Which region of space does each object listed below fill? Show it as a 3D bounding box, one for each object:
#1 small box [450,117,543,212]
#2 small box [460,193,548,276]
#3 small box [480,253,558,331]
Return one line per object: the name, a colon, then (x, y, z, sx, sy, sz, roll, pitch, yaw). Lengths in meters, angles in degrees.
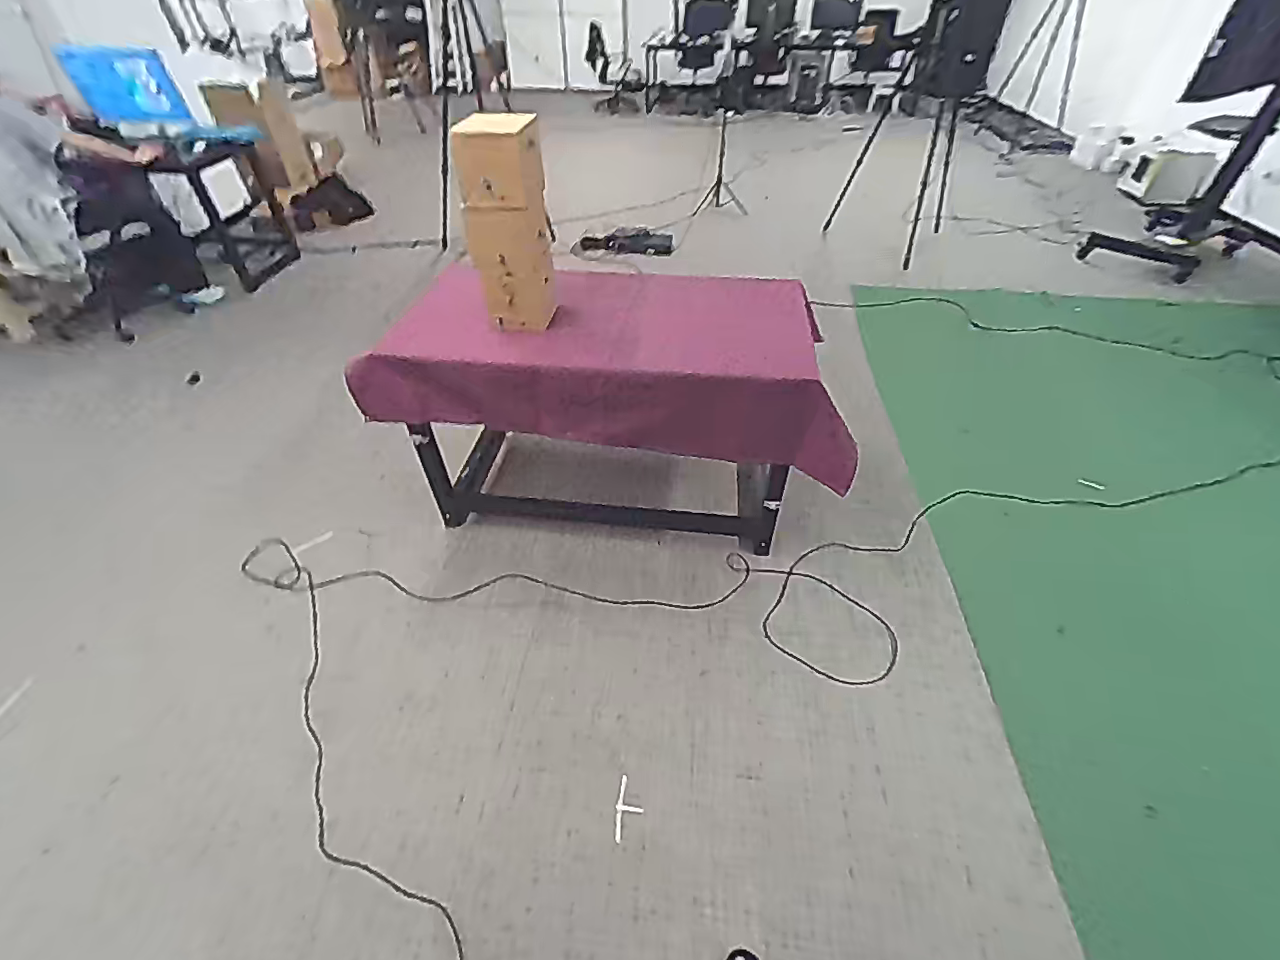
small box: (-0.347, -0.787, 1.349, 0.168, 0.176, 0.179, 5, 45, 6)
small box: (-0.356, -0.667, 1.459, 0.179, 0.176, 0.168, 6, 44, 6)
small box: (-0.343, -0.548, 1.573, 0.168, 0.176, 0.179, 5, 43, 5)
